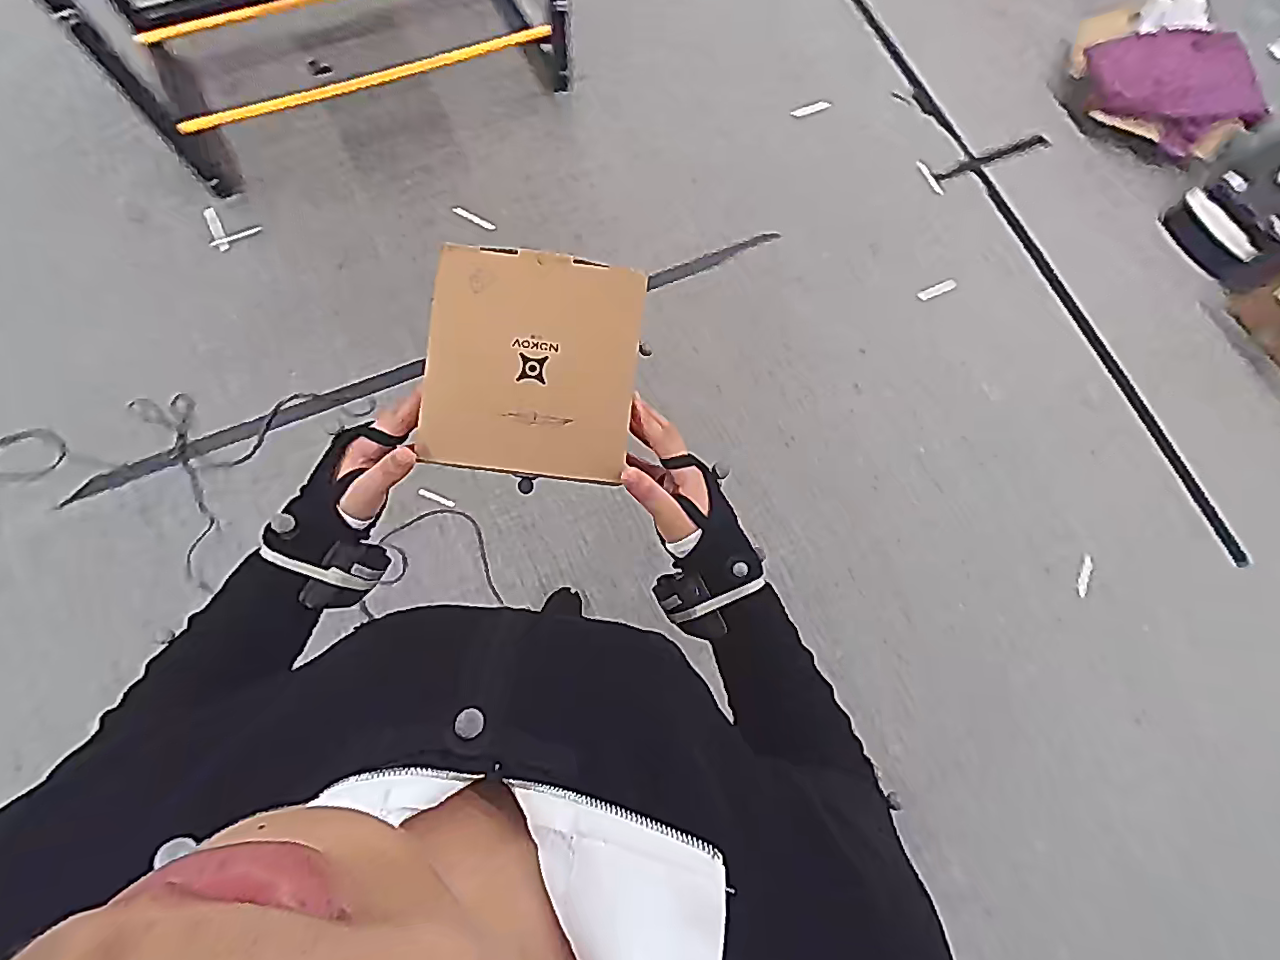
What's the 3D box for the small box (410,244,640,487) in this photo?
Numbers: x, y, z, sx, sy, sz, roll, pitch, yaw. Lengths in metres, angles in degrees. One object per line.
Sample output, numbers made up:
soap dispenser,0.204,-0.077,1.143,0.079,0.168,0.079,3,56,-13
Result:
small box,-0.094,-0.089,0.505,0.168,0.176,0.179,5,88,-3
